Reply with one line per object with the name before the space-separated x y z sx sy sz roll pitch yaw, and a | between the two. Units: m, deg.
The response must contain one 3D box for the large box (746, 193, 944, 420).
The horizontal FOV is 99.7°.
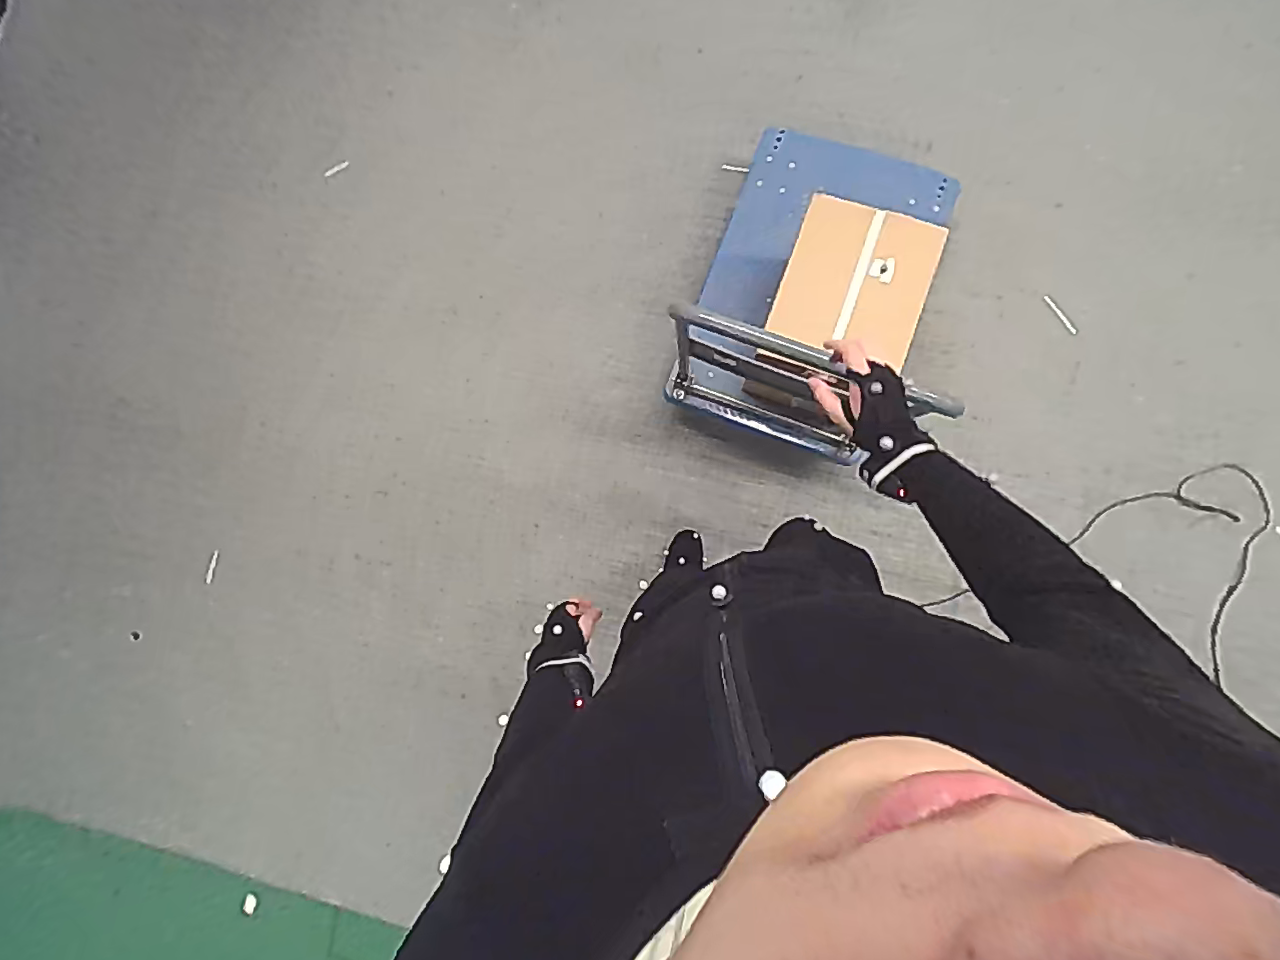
large box | 0.484 -0.407 1.354 0.320 0.320 0.408 20 86 5
